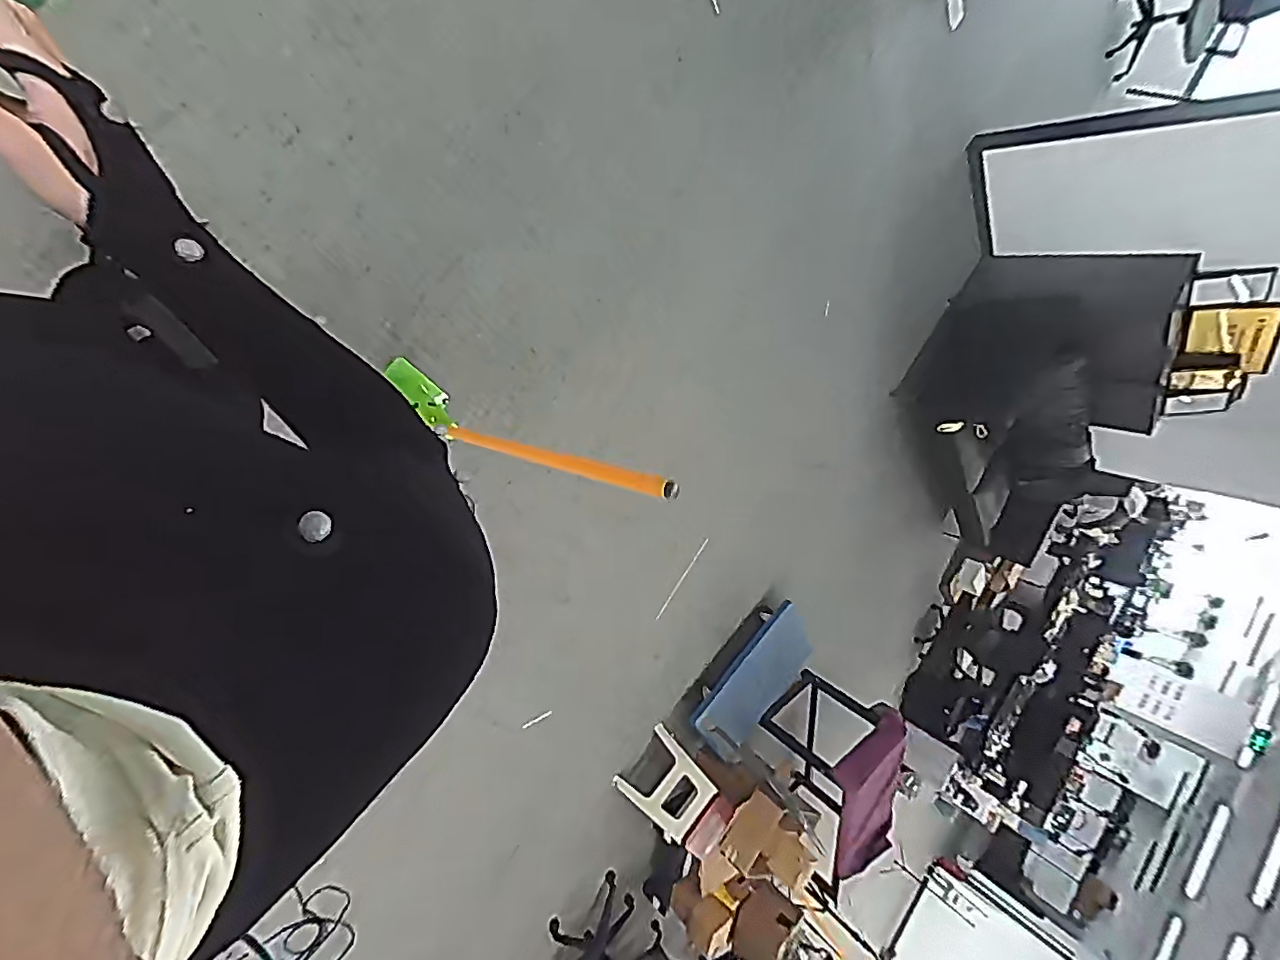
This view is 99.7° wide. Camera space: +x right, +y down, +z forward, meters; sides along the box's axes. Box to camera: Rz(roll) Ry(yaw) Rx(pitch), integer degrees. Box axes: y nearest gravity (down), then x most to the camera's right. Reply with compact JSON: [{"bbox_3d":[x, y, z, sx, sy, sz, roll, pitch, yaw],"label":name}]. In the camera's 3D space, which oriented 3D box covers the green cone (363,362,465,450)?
[{"bbox_3d":[-0.552,-0.159,1.431,0.202,0.368,0.200,-54,133,-10],"label":"green cone"}]
